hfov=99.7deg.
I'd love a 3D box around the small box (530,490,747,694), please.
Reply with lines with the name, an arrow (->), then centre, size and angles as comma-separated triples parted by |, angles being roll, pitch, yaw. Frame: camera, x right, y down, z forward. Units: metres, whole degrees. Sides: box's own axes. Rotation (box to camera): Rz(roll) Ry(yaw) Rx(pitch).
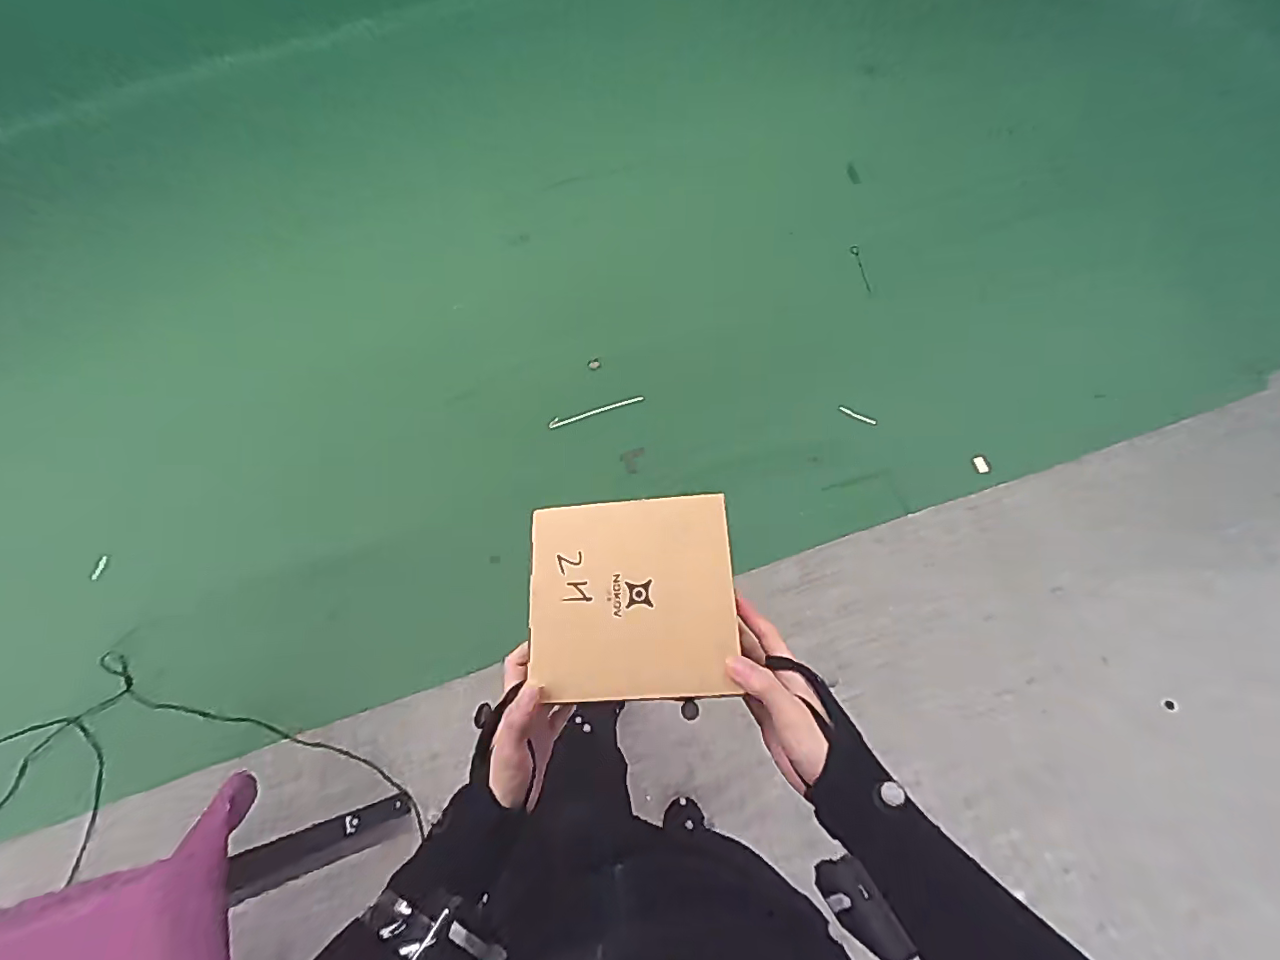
small box -> 0.005, 0.119, 0.529 | 0.179, 0.176, 0.168 | -5, 67, 7
